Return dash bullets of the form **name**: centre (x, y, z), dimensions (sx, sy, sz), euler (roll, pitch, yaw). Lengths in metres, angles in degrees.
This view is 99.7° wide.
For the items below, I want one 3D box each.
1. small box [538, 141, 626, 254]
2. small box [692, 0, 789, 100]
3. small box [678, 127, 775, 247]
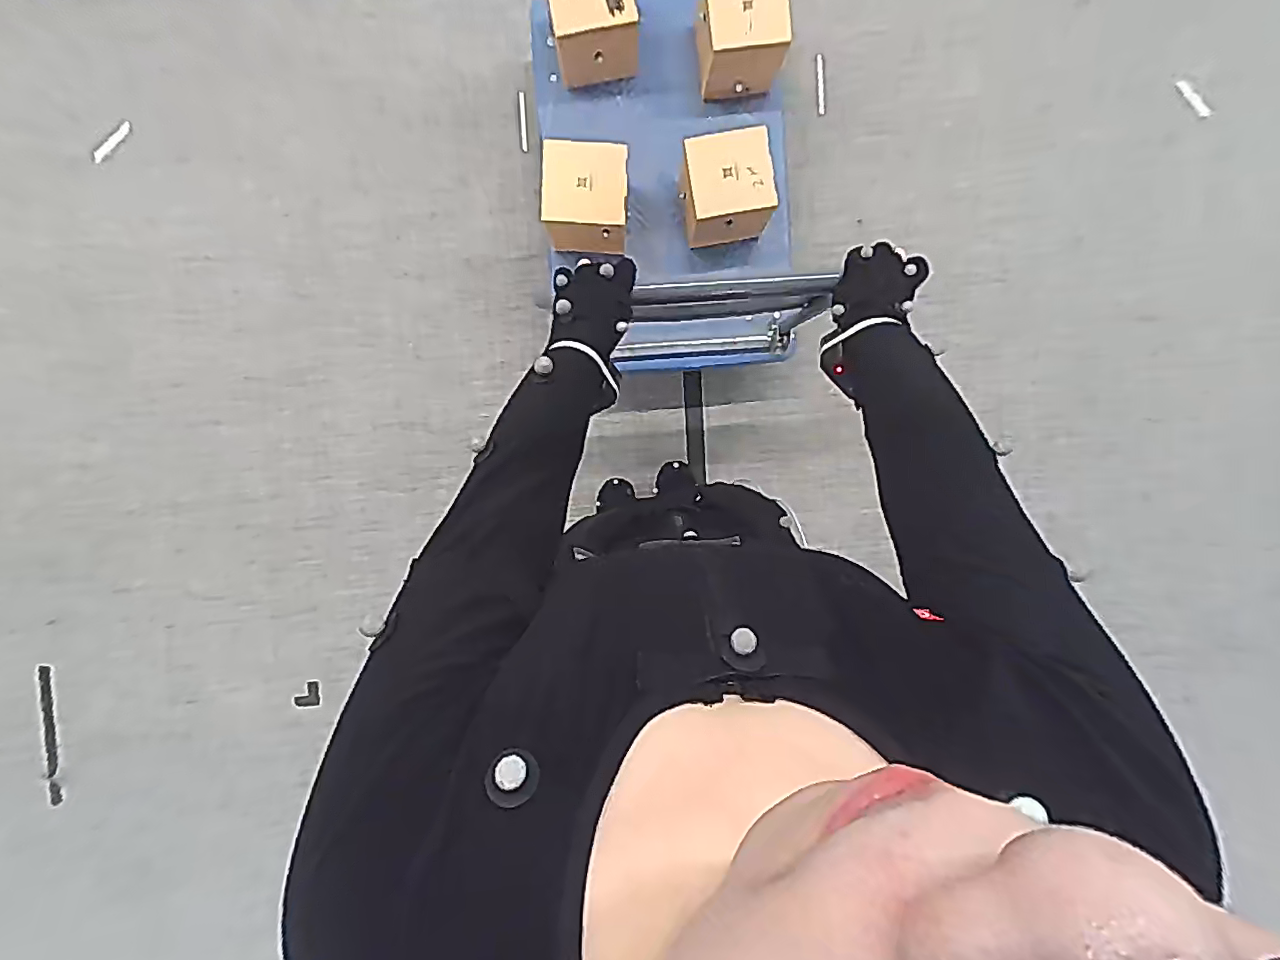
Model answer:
- **small box**: centre (-0.121, -0.611, 1.188), dimensions (0.179, 0.176, 0.168), euler (2, 93, -2)
- **small box**: centre (0.211, -0.972, 1.171), dimensions (0.168, 0.176, 0.179), euler (-7, 95, 0)
- **small box**: centre (0.182, -0.634, 1.192), dimensions (0.179, 0.176, 0.168), euler (-10, 94, 0)
